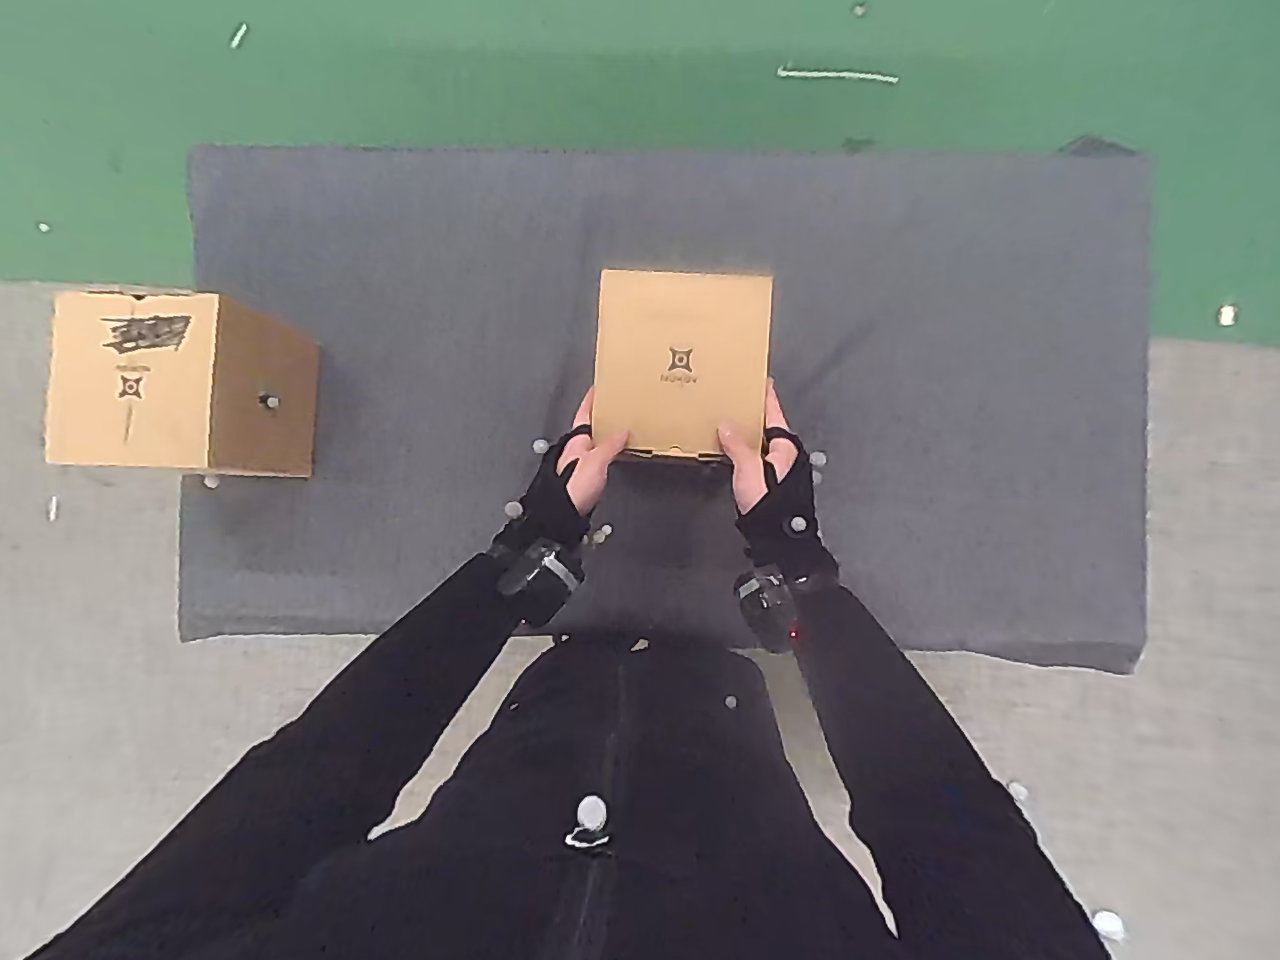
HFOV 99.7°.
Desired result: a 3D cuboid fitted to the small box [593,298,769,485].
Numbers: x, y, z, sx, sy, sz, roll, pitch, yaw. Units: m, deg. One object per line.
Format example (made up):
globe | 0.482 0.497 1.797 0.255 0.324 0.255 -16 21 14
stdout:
small box | 0.043 -0.085 0.604 0.168 0.176 0.179 2 87 2
